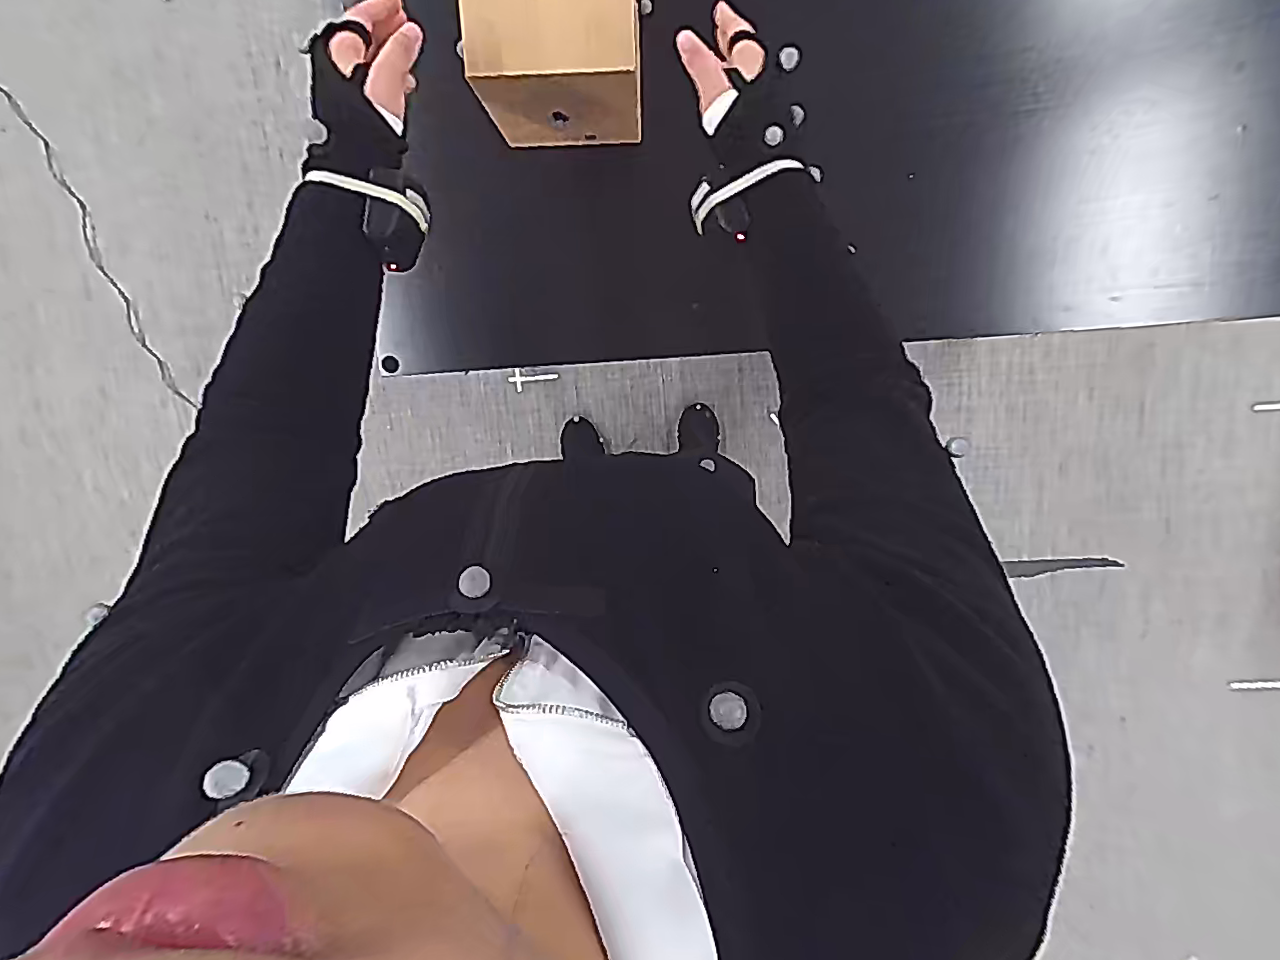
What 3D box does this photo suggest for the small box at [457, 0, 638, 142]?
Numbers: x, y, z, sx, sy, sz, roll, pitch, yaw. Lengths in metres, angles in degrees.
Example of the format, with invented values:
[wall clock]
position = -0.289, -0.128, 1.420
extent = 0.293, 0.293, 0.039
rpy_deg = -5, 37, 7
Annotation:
[small box]
position = -0.088, -0.486, 0.580
extent = 0.168, 0.176, 0.179
rpy_deg = -1, 100, 2
